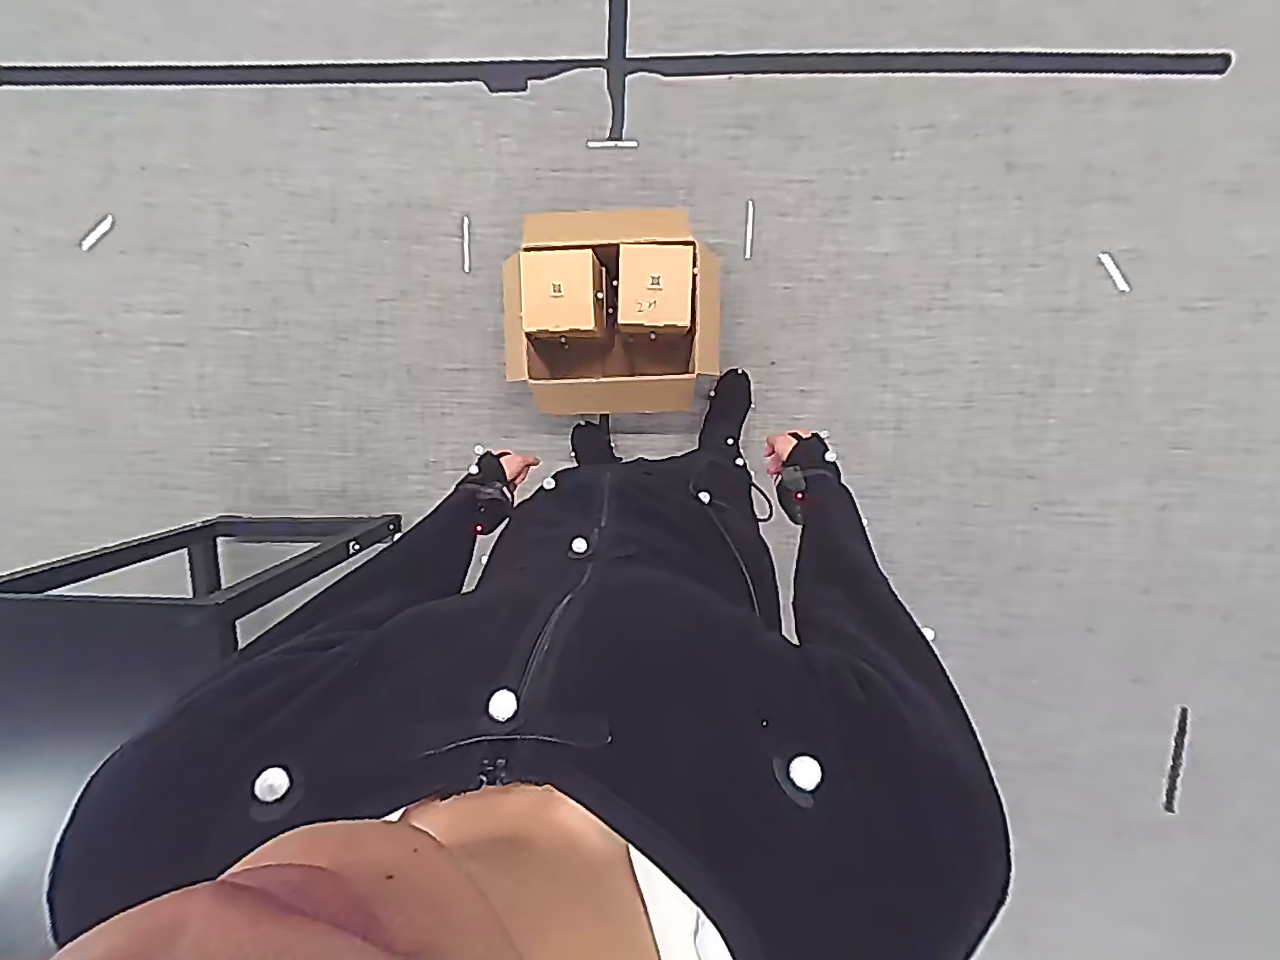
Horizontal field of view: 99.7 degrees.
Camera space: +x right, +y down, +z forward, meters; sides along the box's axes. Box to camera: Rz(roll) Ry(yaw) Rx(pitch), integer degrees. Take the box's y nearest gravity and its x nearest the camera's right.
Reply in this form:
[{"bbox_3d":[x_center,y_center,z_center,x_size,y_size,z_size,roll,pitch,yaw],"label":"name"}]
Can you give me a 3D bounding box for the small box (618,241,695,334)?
[{"bbox_3d":[0.038,-0.446,1.274,0.168,0.176,0.179,3,99,2],"label":"small box"}]
